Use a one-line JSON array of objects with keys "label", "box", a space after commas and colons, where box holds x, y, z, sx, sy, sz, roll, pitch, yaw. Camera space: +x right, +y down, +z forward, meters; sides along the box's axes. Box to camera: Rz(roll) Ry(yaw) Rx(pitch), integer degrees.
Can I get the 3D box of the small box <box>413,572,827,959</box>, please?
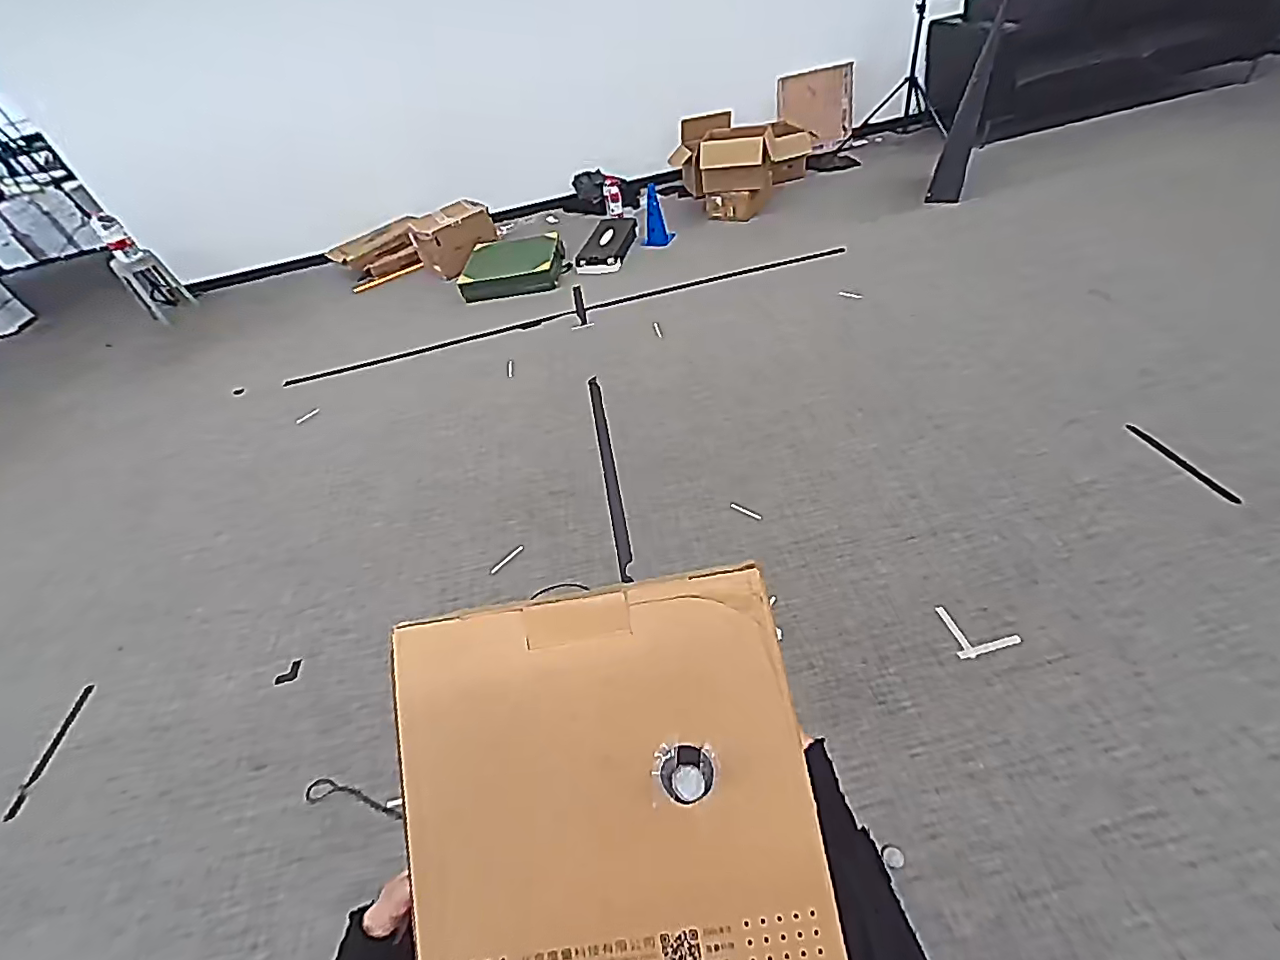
[{"label": "small box", "box": [-0.006, 0.154, 0.316, 0.168, 0.179, 0.176, -10, 79, 3]}]
